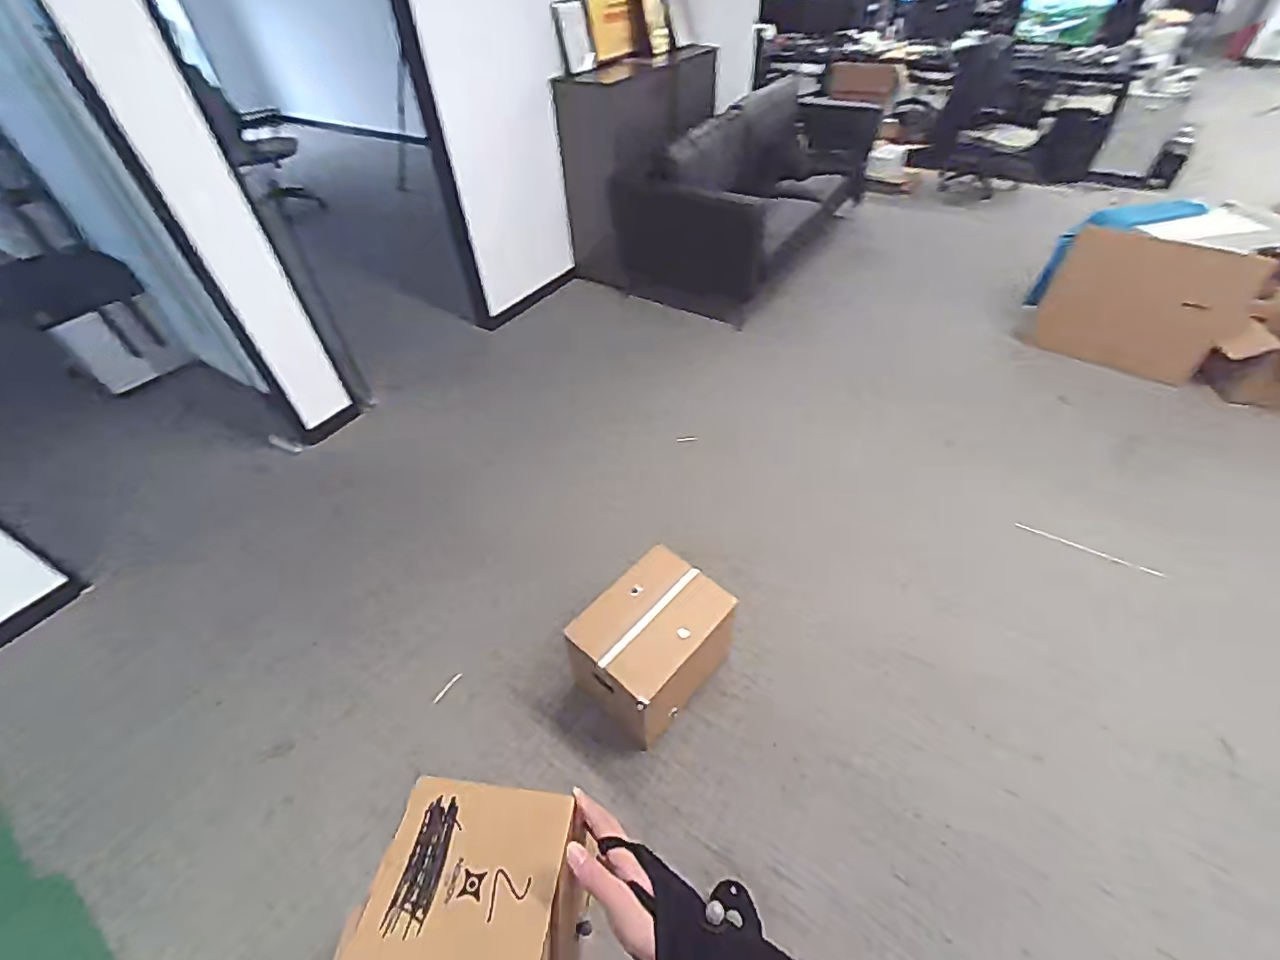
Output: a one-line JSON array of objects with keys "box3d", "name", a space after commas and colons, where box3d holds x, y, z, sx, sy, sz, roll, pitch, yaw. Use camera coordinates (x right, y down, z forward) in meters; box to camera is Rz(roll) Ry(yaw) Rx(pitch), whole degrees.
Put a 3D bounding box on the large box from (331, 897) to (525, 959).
[{"box3d": [-0.423, 1.080, 1.049, 0.320, 0.320, 0.408, -2, 47, 2], "name": "large box"}]
